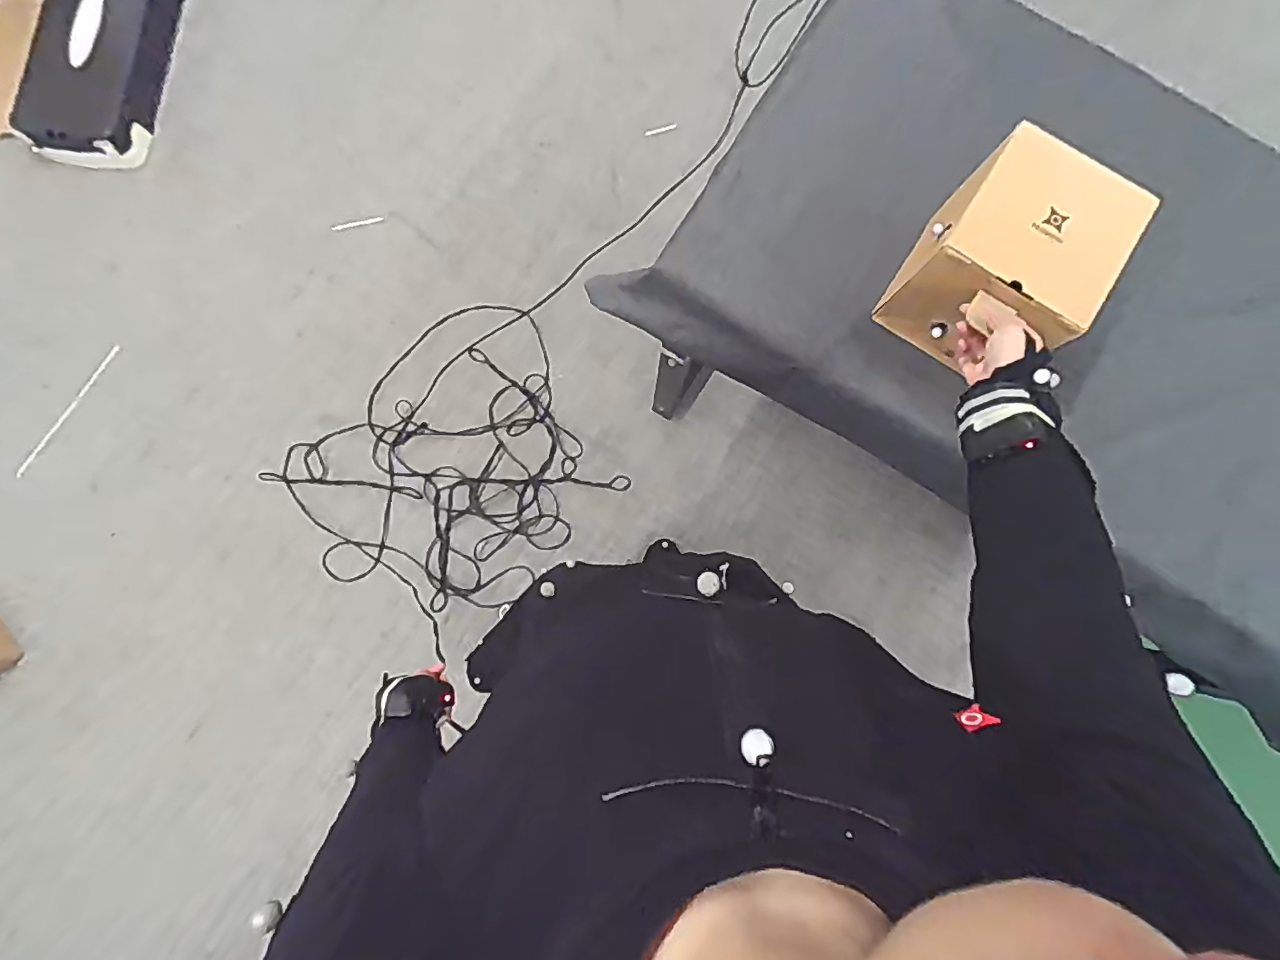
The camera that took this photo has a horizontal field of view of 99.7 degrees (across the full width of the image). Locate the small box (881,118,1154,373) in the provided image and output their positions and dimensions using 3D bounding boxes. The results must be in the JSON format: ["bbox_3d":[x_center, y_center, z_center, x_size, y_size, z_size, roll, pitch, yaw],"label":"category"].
[{"bbox_3d":[0.421,-0.258,0.635,0.168,0.176,0.179,33,83,2],"label":"small box"}]
